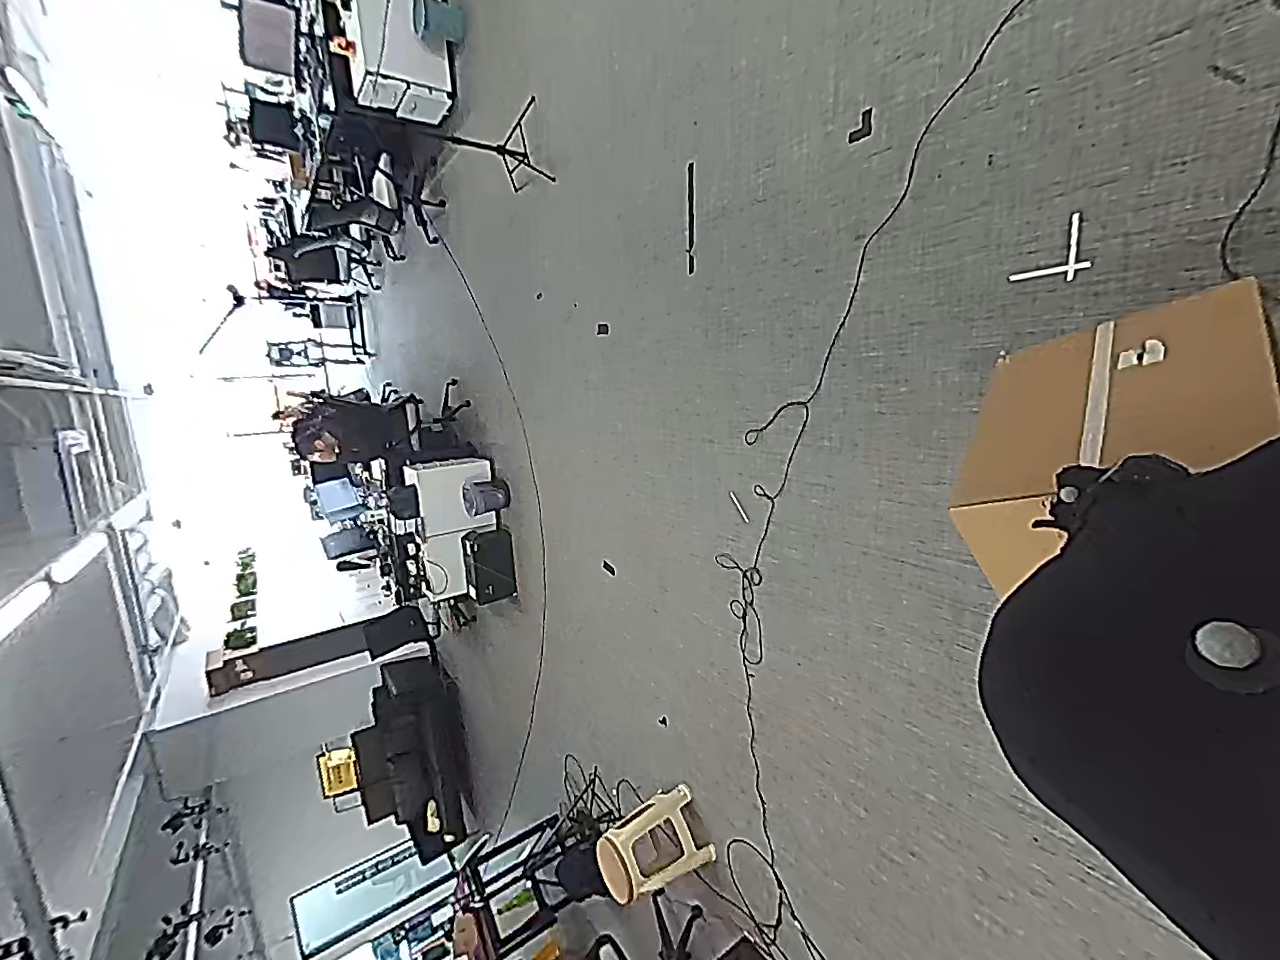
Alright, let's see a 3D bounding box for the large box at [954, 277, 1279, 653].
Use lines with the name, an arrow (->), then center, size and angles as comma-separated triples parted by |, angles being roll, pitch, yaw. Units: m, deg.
large box -> 0.720, -0.011, 0.779 | 0.320, 0.408, 0.320 | 52, 146, -16
